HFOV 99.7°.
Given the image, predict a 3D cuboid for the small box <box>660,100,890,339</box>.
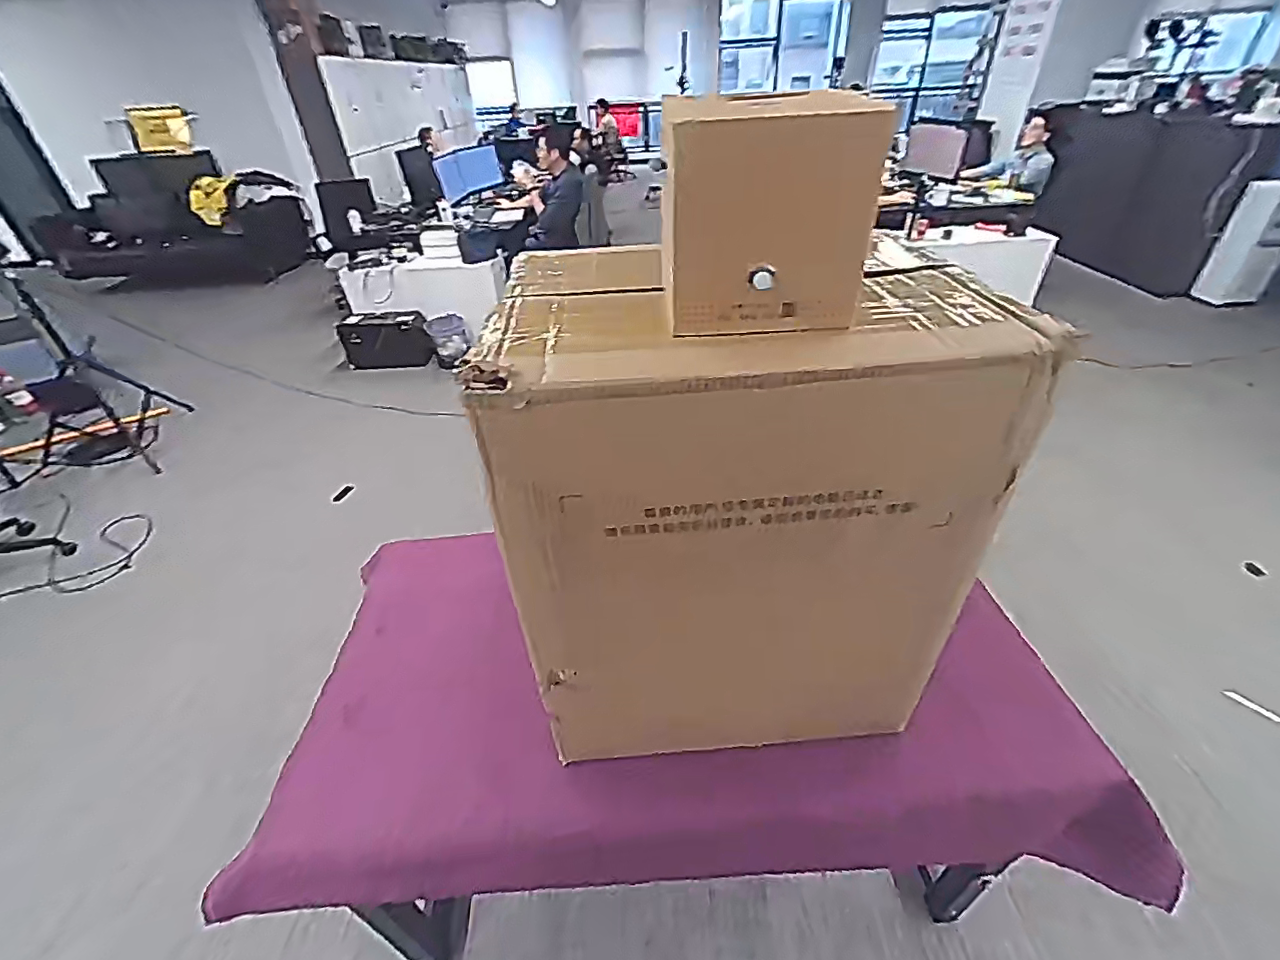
[{"bbox_3d":[0.103,-0.245,0.507,0.168,0.176,0.179,-3,39,1],"label":"small box"}]
